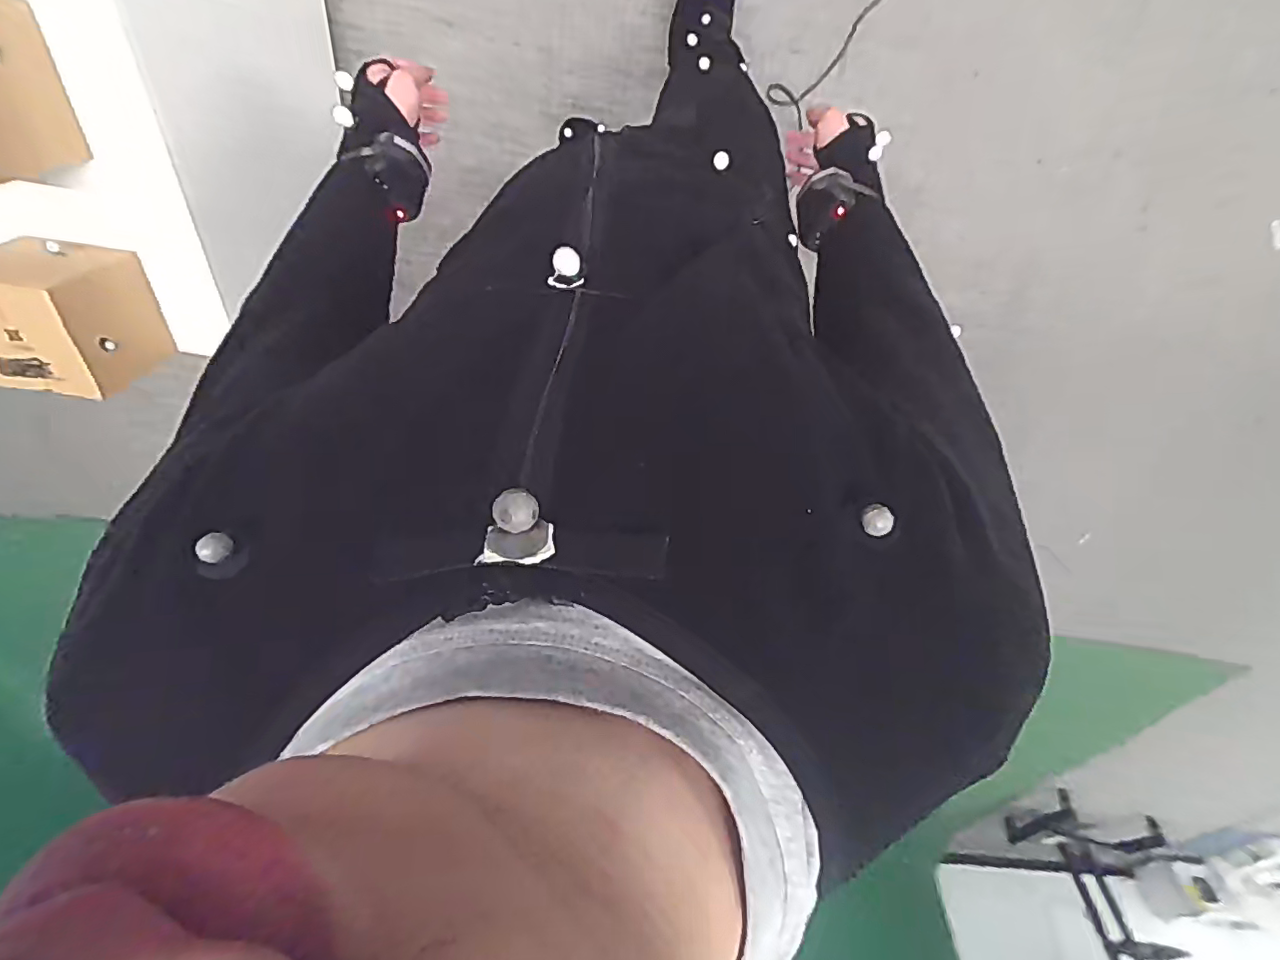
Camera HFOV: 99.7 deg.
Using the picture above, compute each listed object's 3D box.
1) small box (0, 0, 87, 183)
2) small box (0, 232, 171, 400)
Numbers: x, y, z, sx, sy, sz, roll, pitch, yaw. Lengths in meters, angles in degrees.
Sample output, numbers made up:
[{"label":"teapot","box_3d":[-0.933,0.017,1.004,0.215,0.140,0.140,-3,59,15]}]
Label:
[{"label":"small box","box_3d":[-0.817,-0.467,0.616,0.168,0.176,0.179,9,134,-6]},{"label":"small box","box_3d":[-0.868,-0.247,0.813,0.168,0.176,0.179,7,130,-6]}]
